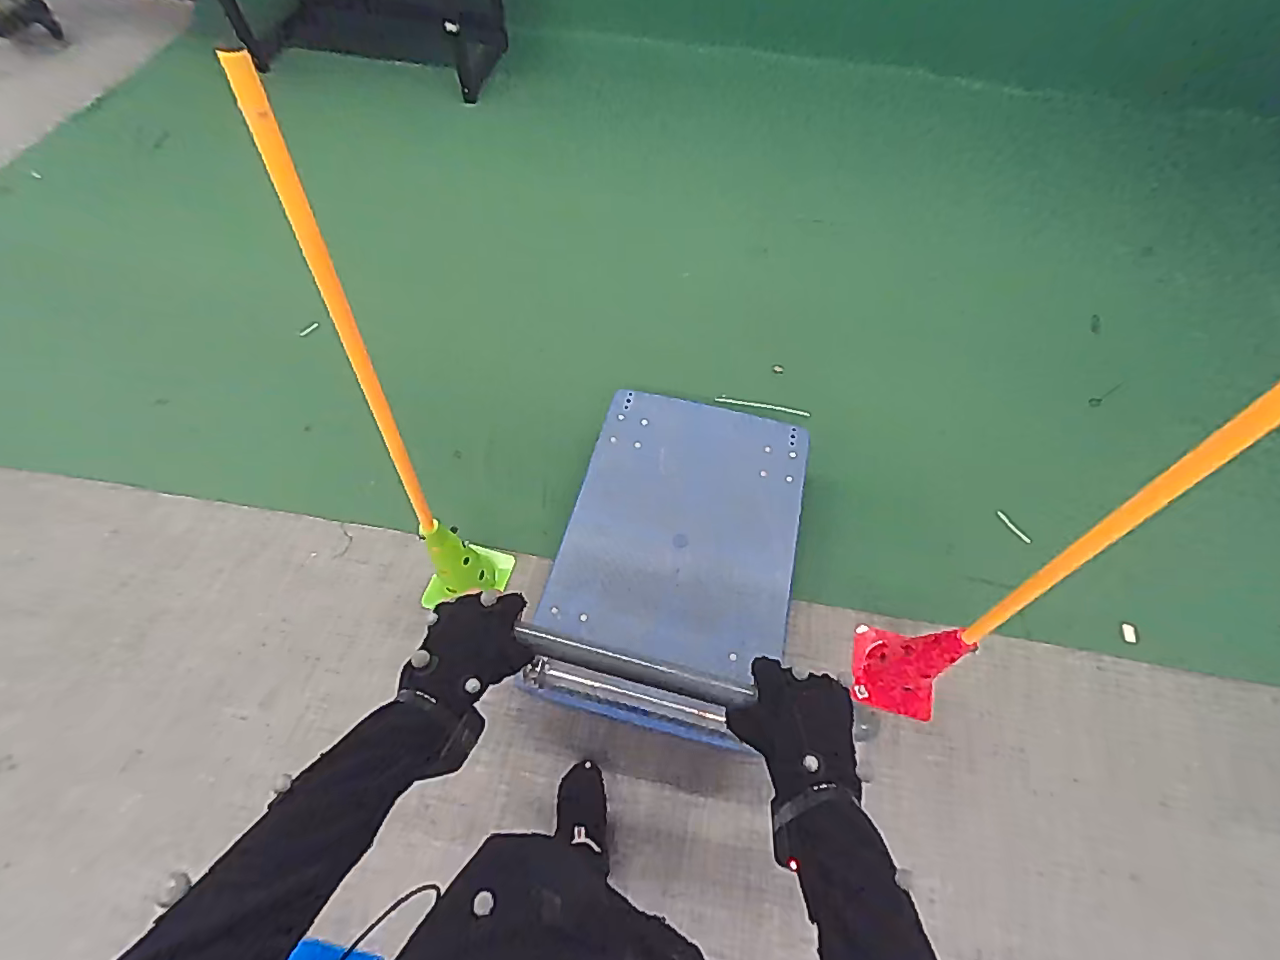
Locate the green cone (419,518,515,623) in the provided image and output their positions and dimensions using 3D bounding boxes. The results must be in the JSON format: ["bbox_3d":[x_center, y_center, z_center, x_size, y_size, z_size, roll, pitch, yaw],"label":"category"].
[{"bbox_3d":[-0.461,0.189,1.335,0.202,0.368,0.200,13,60,7],"label":"green cone"}]
